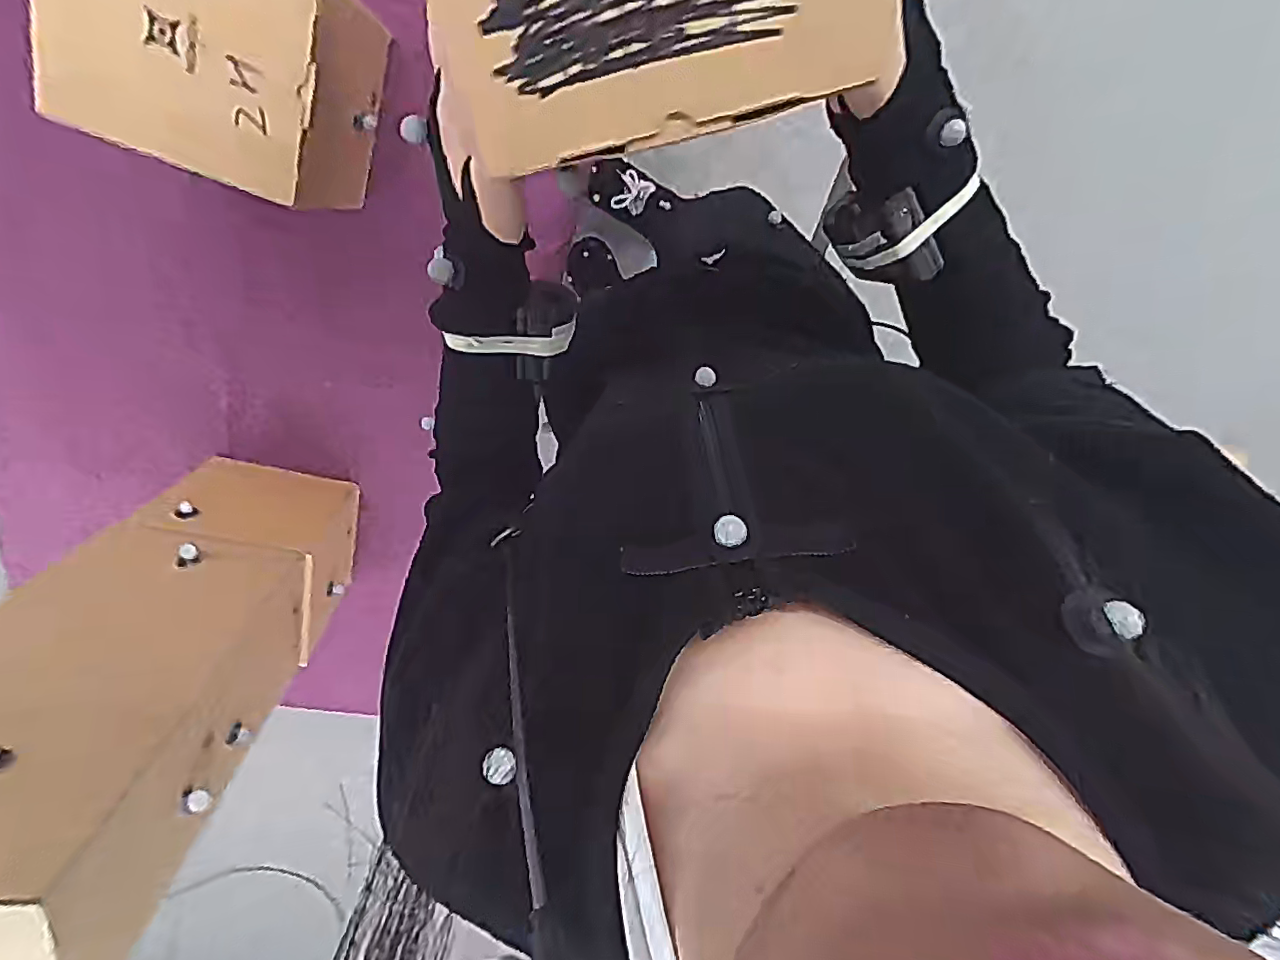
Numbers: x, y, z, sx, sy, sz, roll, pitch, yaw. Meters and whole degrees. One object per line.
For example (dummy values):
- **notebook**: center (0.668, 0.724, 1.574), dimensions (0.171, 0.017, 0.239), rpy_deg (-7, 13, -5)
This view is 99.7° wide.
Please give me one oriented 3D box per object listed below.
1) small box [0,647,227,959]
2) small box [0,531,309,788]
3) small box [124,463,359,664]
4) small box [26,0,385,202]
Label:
- **small box**: center (-0.422, 0.235, 0.362), dimensions (0.179, 0.176, 0.168), rpy_deg (12, 114, -14)
- **small box**: center (-0.446, 0.166, 0.510), dimensions (0.179, 0.176, 0.168), rpy_deg (12, 114, -13)
- **small box**: center (-0.462, 0.095, 0.657), dimensions (0.179, 0.176, 0.168), rpy_deg (12, 114, -14)
- **small box**: center (-0.341, -0.349, 0.454), dimensions (0.179, 0.176, 0.168), rpy_deg (17, 113, -16)
